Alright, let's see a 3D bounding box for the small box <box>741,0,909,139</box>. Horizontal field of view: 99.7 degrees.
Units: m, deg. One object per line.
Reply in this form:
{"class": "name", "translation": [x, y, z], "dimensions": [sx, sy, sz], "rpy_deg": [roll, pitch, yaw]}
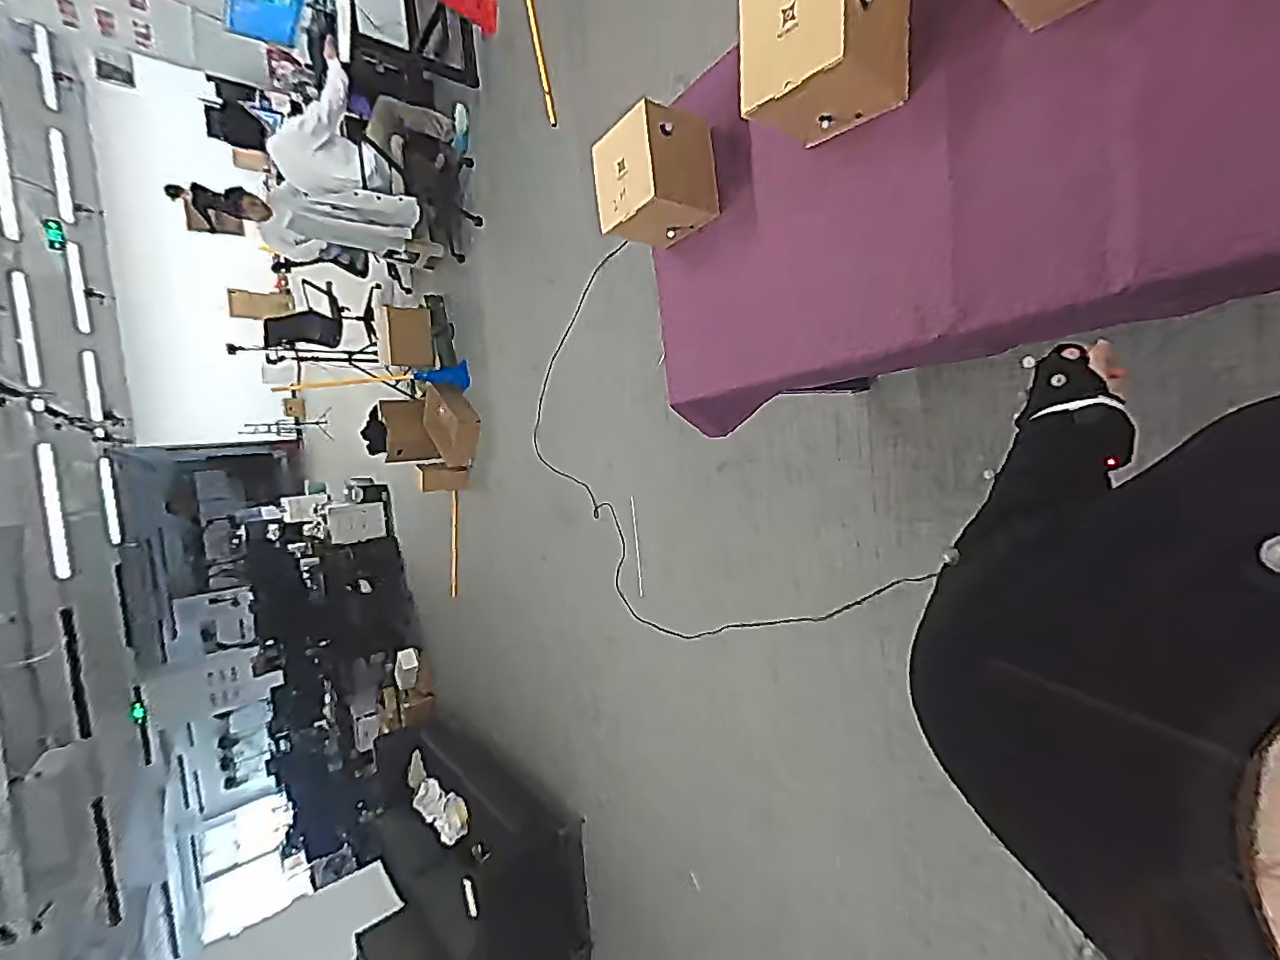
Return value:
{"class": "small box", "translation": [0.261, -0.625, 0.765], "dimensions": [0.168, 0.176, 0.179], "rpy_deg": [8, 103, 51]}

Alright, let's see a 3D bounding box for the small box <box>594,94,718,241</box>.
{"class": "small box", "translation": [0.033, -0.591, 1.052], "dimensions": [0.168, 0.176, 0.179], "rpy_deg": [-4, 93, 52]}
